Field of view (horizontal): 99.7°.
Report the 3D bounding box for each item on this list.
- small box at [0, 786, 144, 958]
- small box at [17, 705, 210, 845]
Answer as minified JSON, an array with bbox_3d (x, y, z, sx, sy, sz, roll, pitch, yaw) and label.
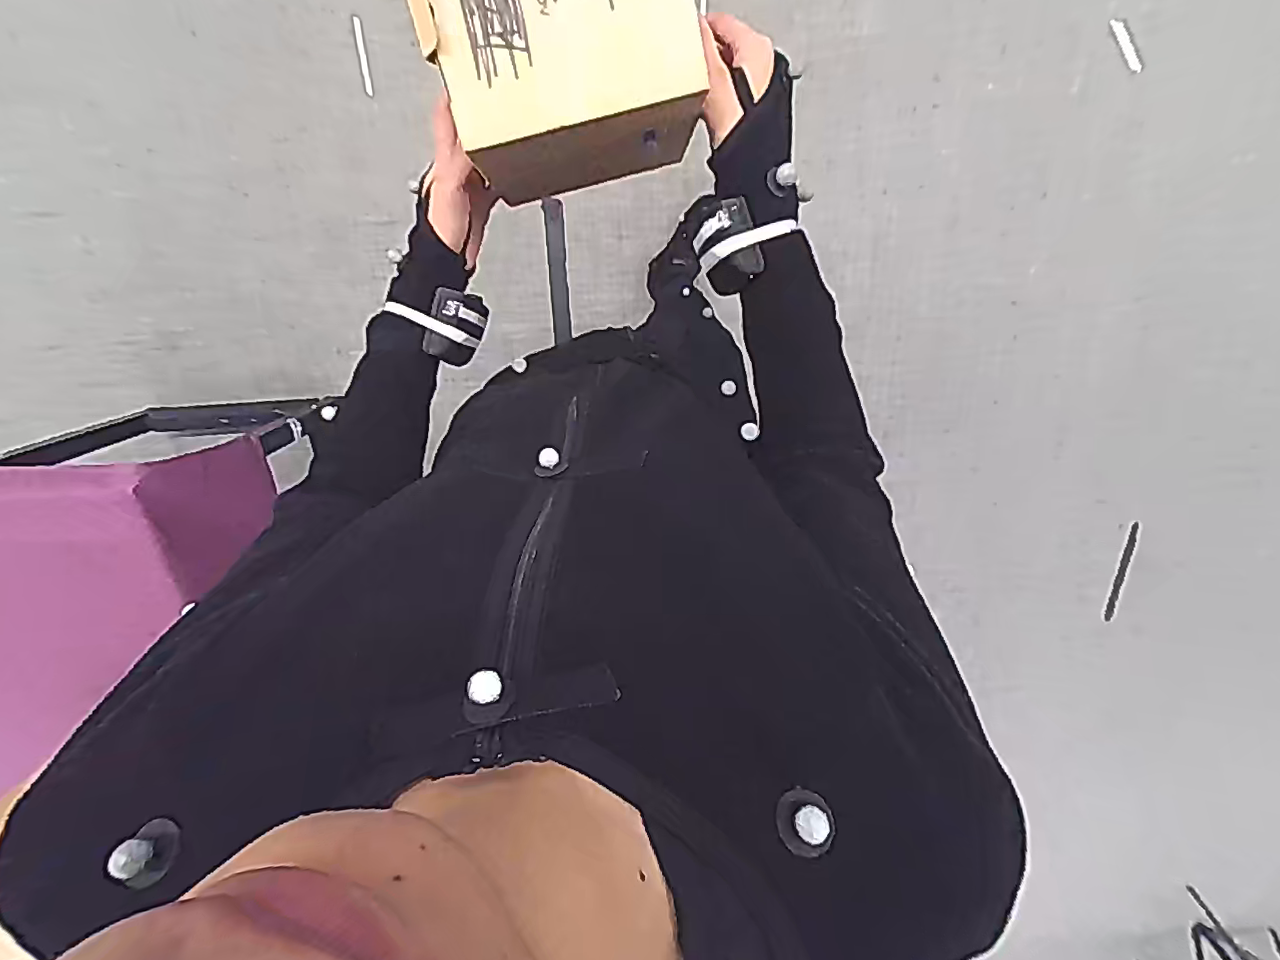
[{"bbox_3d":[-0.977,0.623,0.873,0.179,0.176,0.168,-1,113,0],"label":"small box"},{"bbox_3d":[-0.975,0.559,1.025,0.168,0.176,0.179,-7,112,2],"label":"small box"}]
